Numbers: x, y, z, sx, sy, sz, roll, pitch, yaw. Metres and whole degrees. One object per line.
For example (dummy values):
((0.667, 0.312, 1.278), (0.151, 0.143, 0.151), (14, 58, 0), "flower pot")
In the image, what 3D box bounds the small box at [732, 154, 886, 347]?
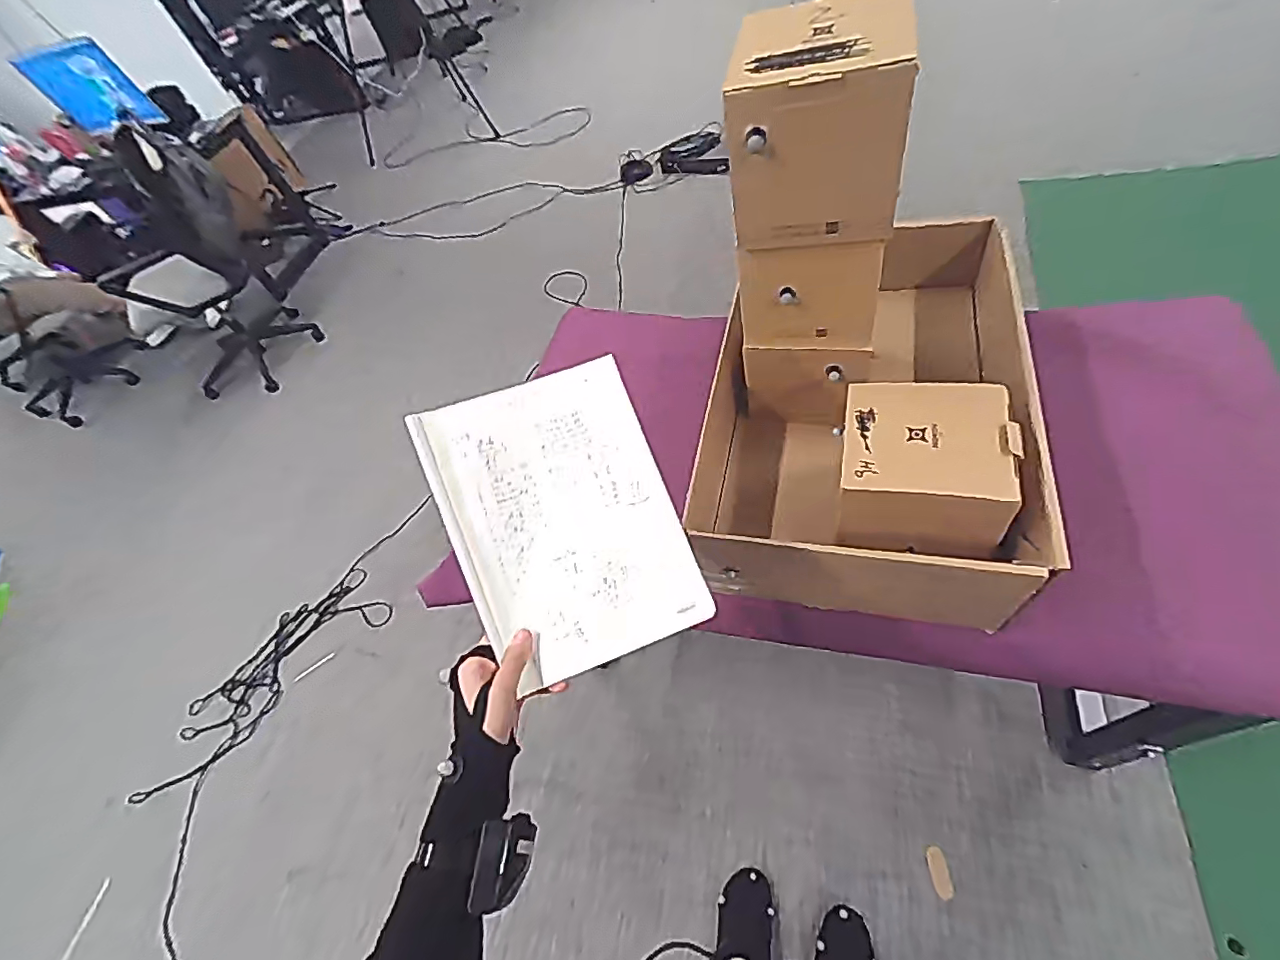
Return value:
((0.227, -0.296, 0.722), (0.168, 0.176, 0.179), (6, 59, 20), "small box")
